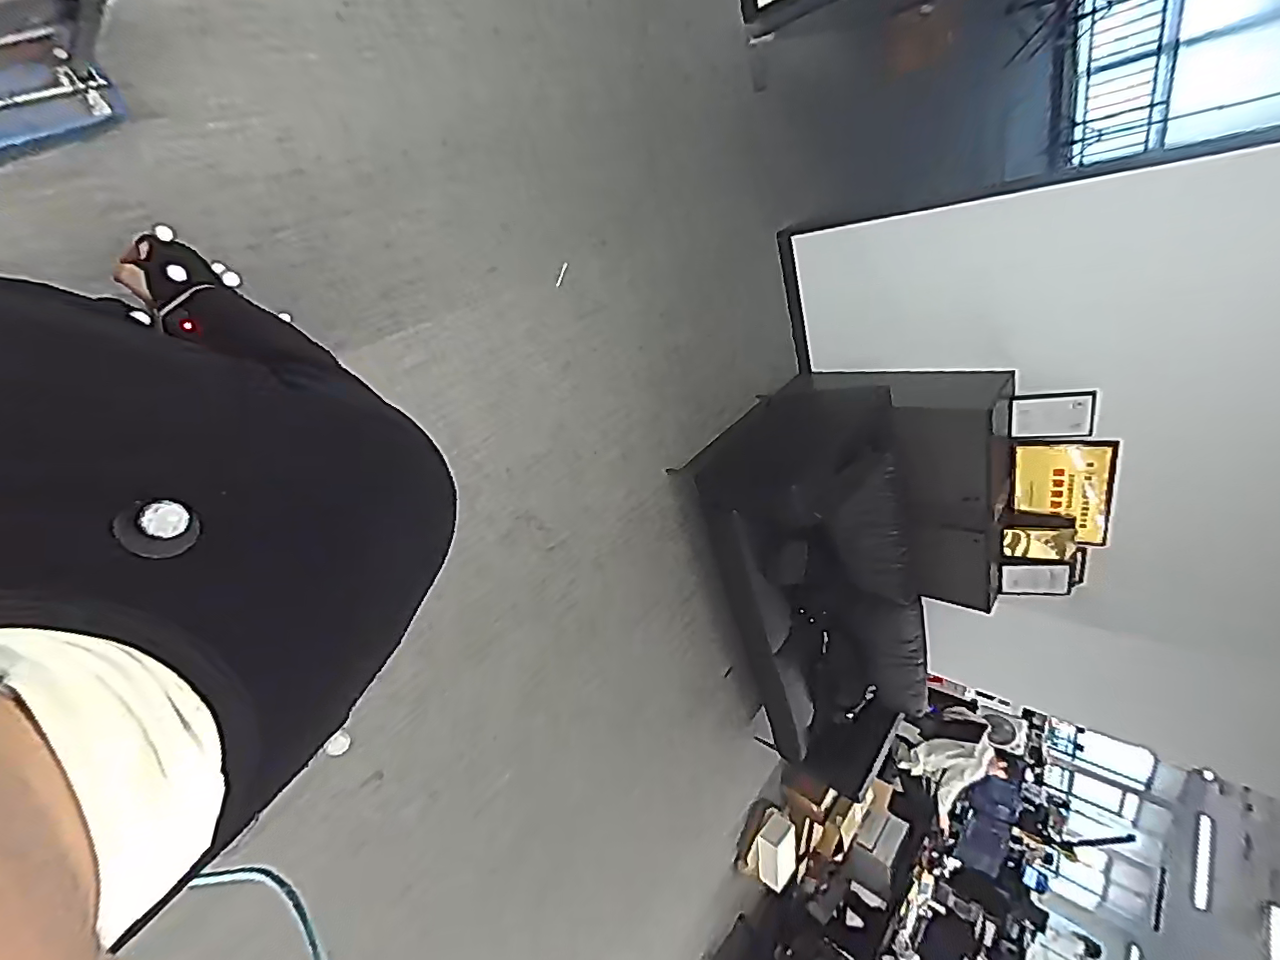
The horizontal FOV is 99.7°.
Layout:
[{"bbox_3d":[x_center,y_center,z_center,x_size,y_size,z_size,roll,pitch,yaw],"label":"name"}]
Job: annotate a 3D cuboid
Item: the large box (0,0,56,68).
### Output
[{"bbox_3d":[-1.084,-0.780,0.672,0.320,0.320,0.408,-46,127,-31],"label":"large box"}]
